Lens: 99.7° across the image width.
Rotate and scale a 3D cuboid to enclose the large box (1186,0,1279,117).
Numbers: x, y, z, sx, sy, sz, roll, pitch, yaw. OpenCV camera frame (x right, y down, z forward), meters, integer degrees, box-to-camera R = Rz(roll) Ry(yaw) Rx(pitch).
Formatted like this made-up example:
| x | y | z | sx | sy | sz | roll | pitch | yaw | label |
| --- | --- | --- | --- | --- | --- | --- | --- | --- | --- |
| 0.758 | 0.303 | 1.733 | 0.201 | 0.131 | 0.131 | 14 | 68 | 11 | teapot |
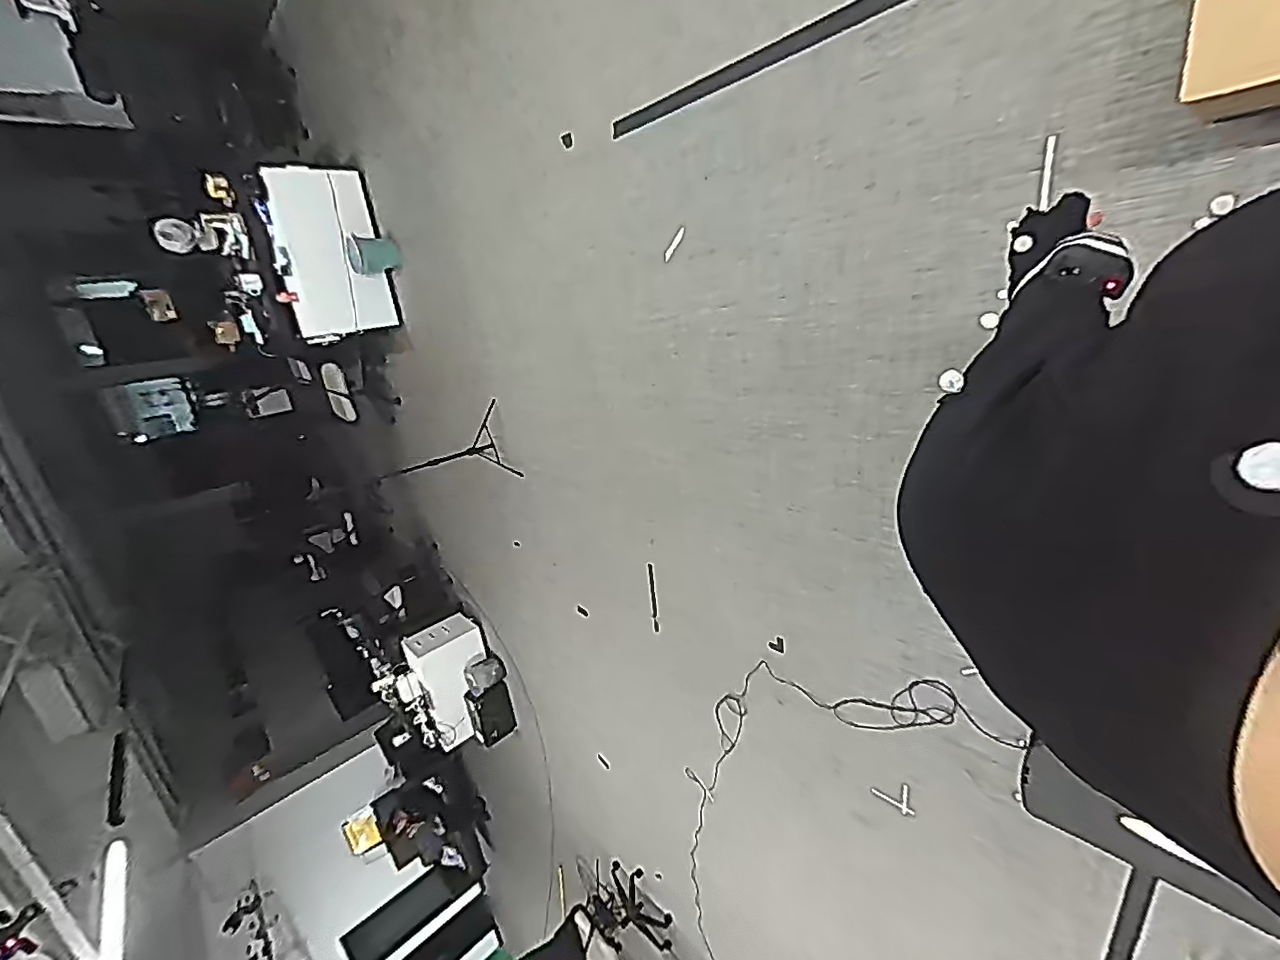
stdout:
| x | y | z | sx | sy | sz | roll | pitch | yaw | label |
| --- | --- | --- | --- | --- | --- | --- | --- | --- | --- |
| 0.992 | -0.709 | 0.674 | 0.408 | 0.320 | 0.320 | 12 | 118 | 45 | large box |
